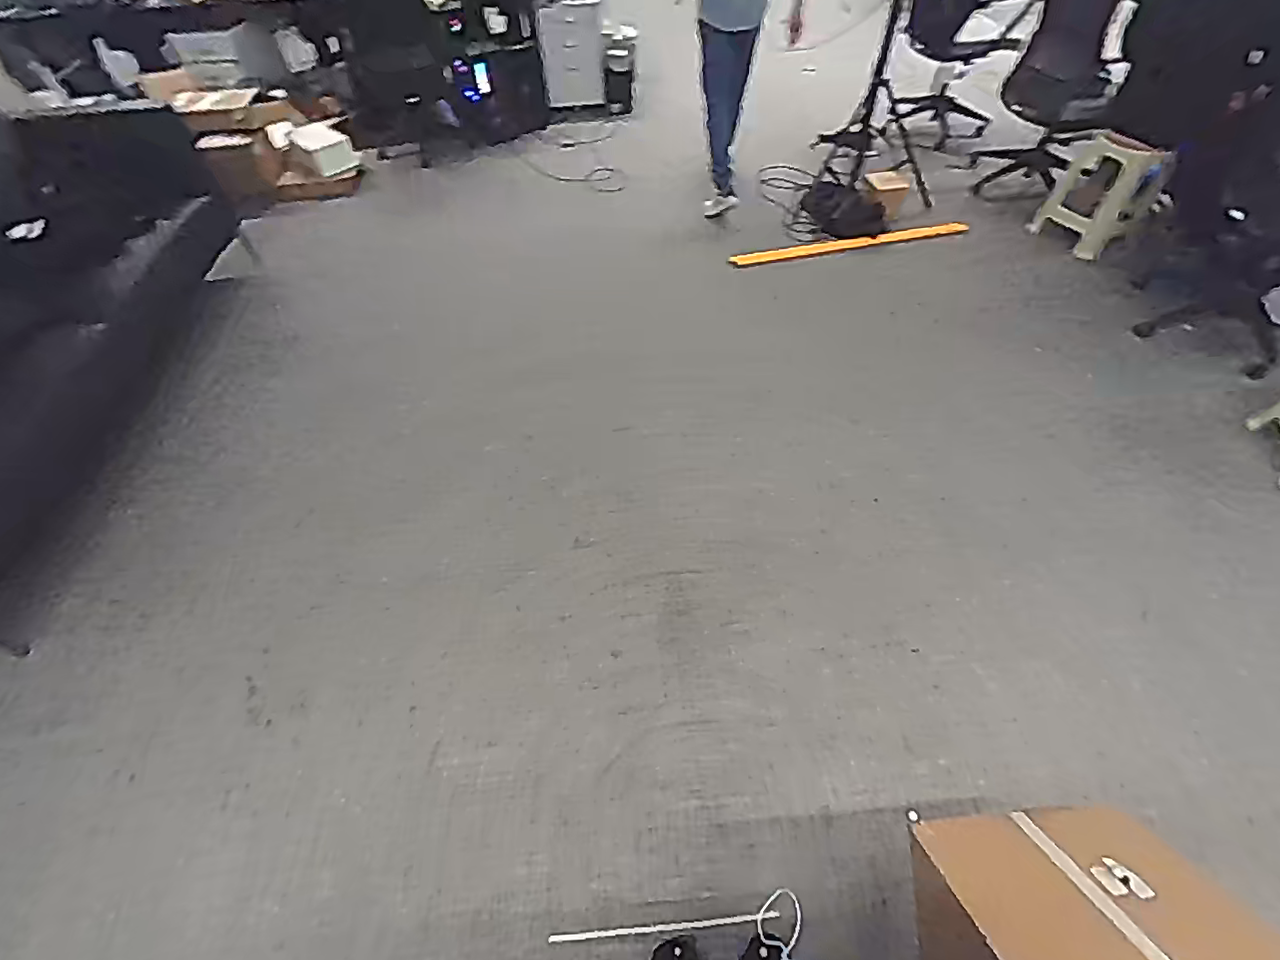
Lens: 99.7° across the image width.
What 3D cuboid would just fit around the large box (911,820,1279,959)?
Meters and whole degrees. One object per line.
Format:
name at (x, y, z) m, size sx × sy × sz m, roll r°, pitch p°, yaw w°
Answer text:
large box at (0.576, 0.688, 0.623) m, size 0.320 × 0.408 × 0.320 m, roll -6°, pitch 93°, yaw 1°
